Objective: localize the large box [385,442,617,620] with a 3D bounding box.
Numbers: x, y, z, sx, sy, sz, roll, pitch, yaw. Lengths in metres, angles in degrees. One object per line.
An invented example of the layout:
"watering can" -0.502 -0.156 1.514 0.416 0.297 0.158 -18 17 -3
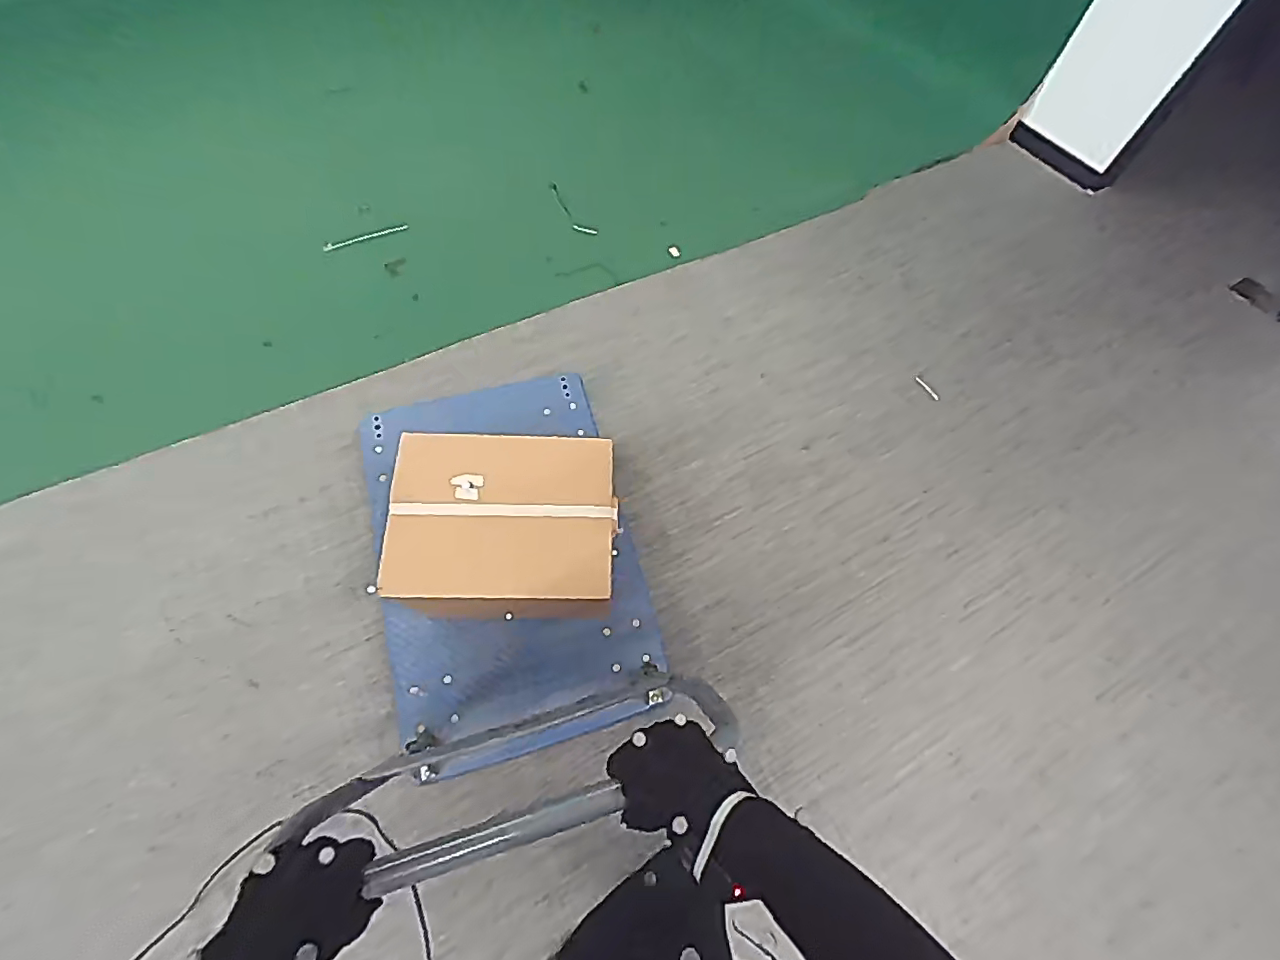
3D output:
"large box" -0.252 0.121 1.130 0.408 0.320 0.320 0 69 -3
